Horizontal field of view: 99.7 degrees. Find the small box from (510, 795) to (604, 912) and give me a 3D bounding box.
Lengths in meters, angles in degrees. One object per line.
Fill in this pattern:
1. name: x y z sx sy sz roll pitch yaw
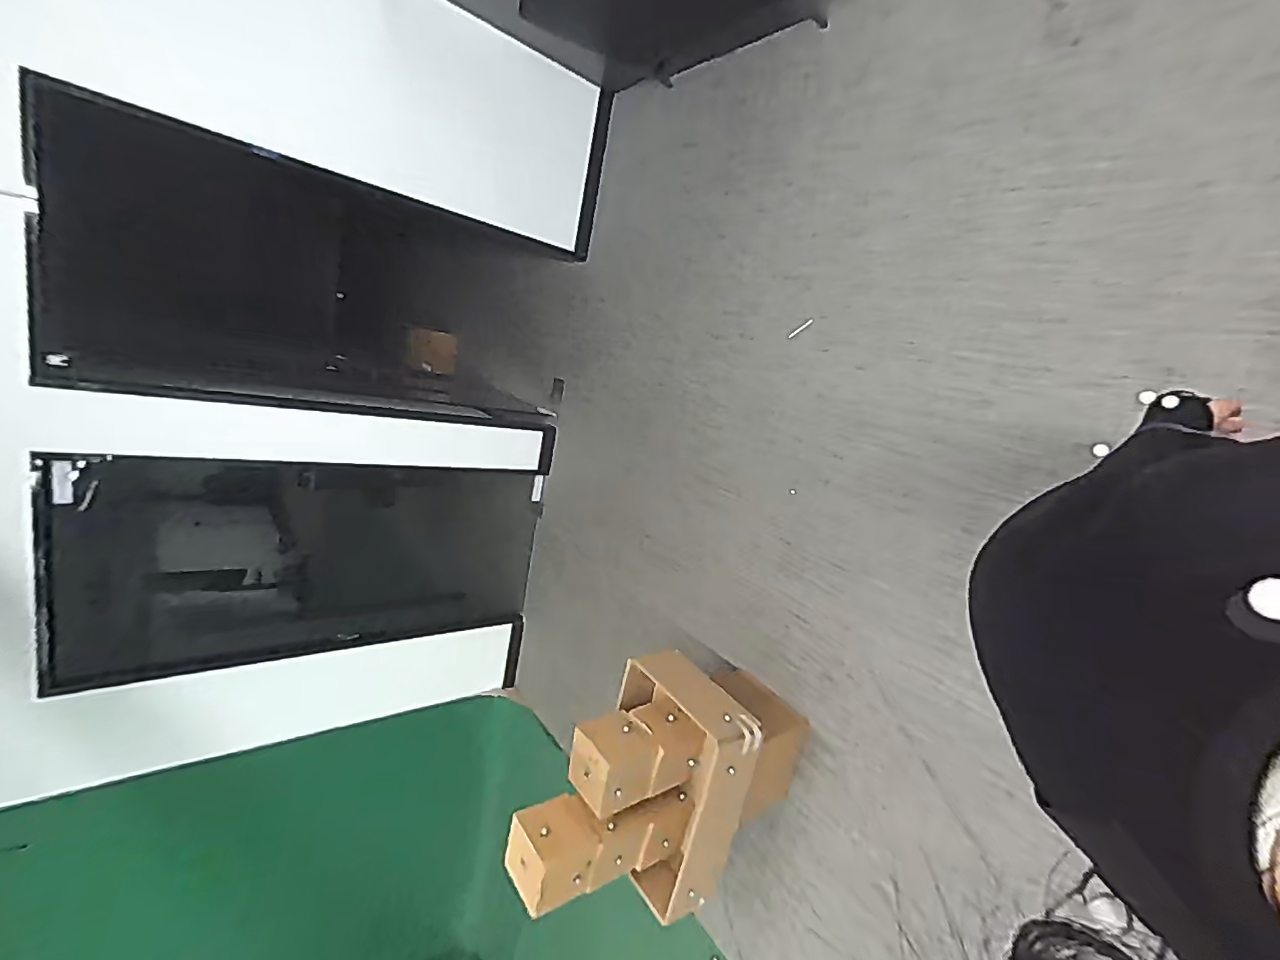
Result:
1. small box: -0.220 0.971 1.427 0.179 0.176 0.168 26 108 49
